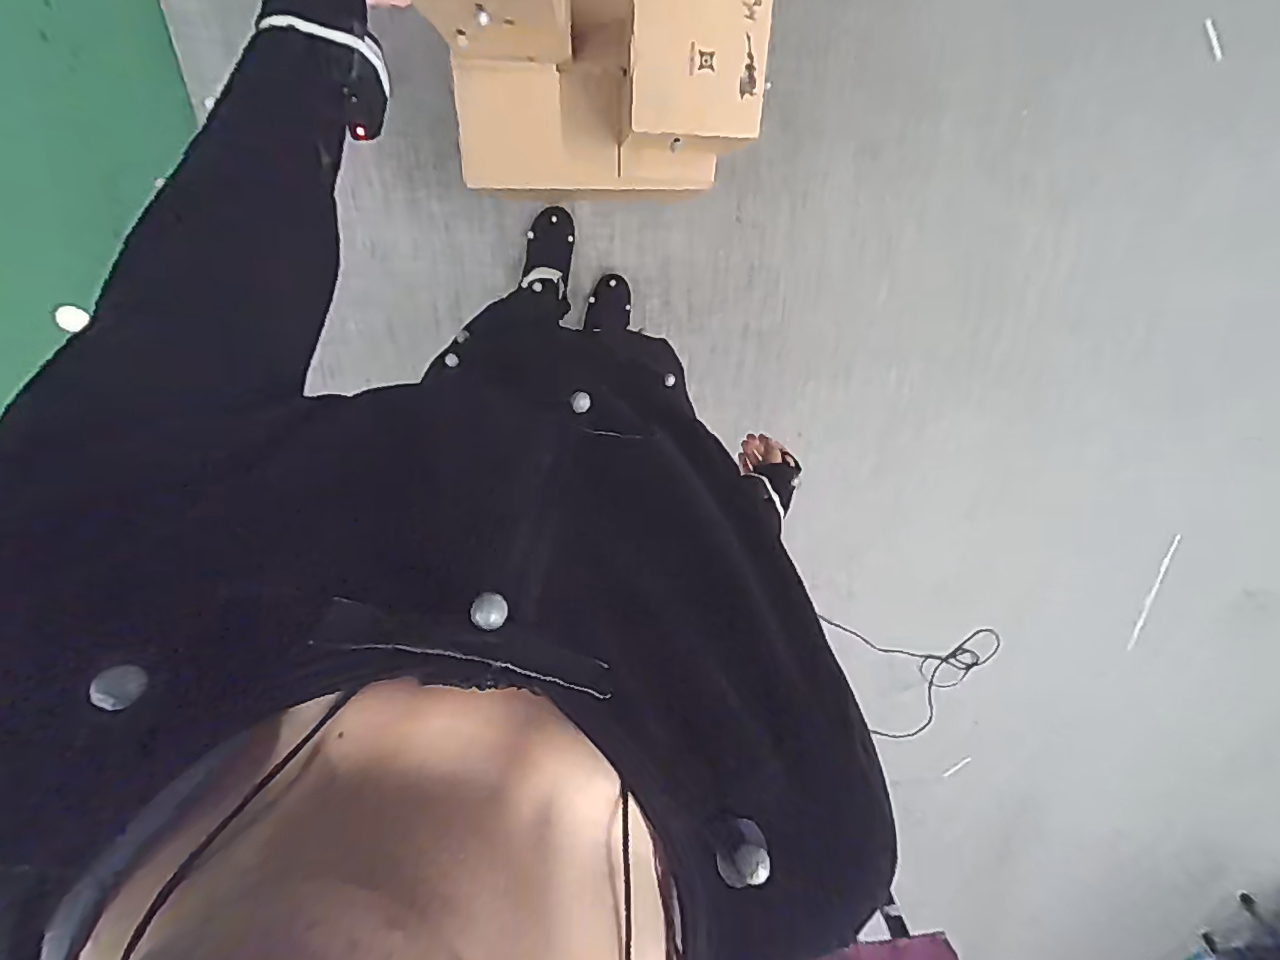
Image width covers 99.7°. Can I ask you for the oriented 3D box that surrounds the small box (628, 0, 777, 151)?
[{"bbox_3d":[0.073,-0.562,0.750,0.179,0.176,0.168,1,117,-4],"label":"small box"}]

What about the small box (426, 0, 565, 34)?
[{"bbox_3d":[-0.161,-0.592,0.542,0.168,0.176,0.179,3,115,-4],"label":"small box"}]
